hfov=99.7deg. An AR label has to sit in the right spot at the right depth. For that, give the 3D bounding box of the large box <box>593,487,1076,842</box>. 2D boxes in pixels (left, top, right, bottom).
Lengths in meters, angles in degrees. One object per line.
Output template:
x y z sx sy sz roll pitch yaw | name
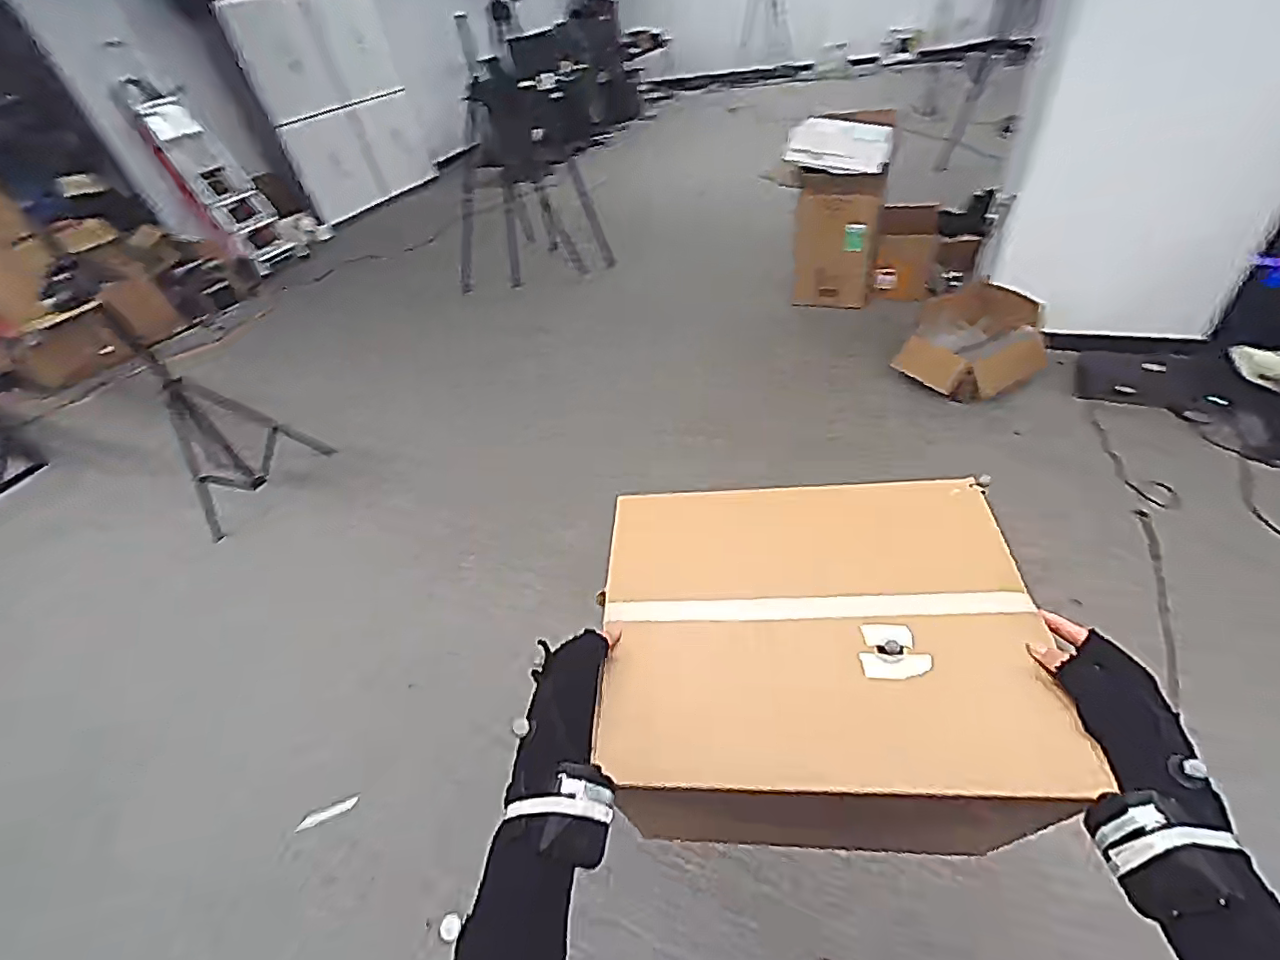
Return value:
0.175 0.234 0.658 0.408 0.320 0.320 -3 50 7 | large box
